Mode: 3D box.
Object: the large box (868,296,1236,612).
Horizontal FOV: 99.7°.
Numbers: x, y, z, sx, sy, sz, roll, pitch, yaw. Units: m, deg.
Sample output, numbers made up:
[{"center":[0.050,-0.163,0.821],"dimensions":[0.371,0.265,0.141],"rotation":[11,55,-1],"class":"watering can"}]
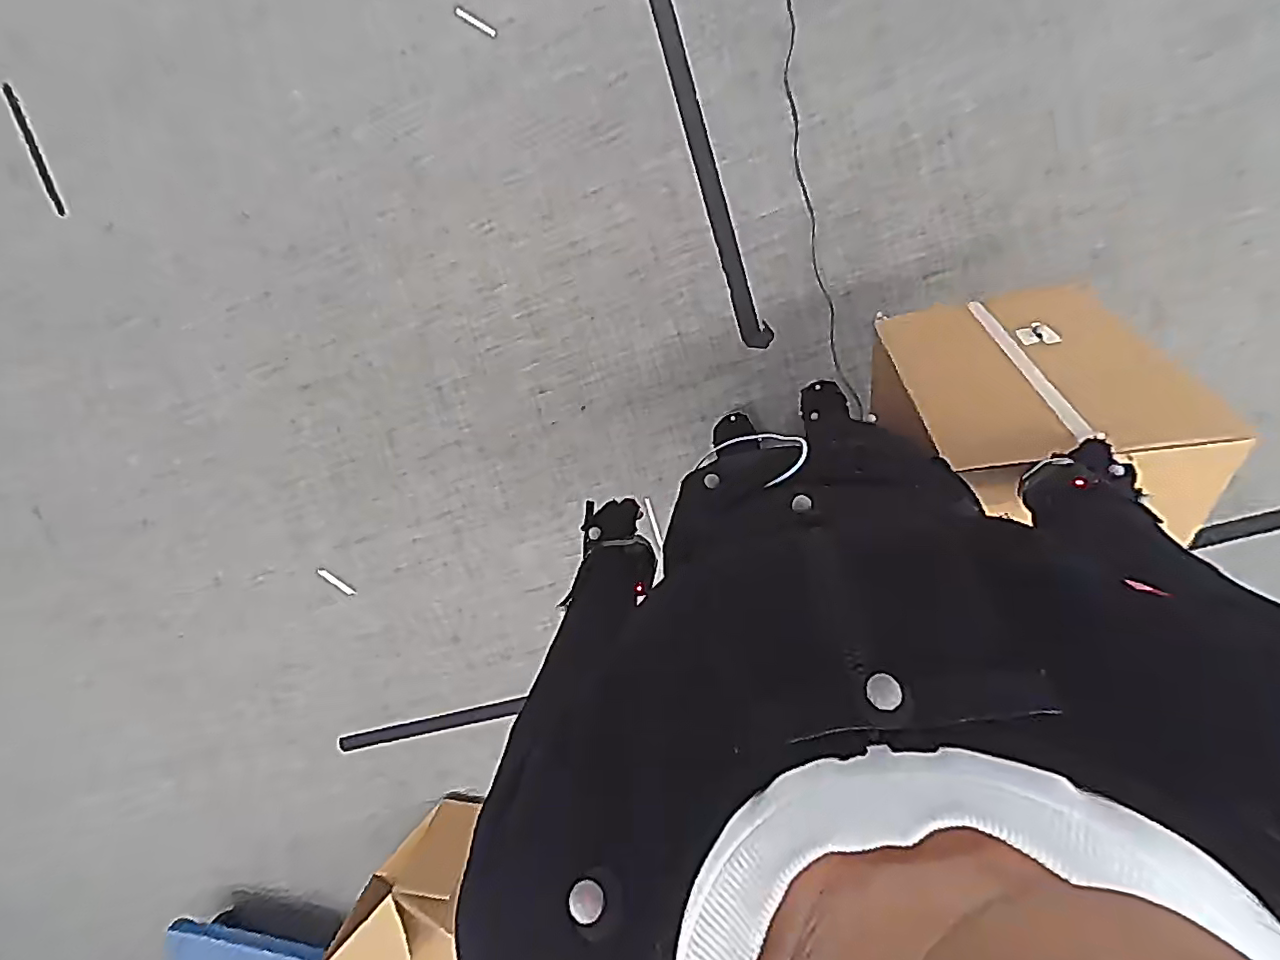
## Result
[{"center":[0.582,-0.047,0.883],"dimensions":[0.320,0.408,0.320],"rotation":[-7,130,12],"class":"large box"}]
